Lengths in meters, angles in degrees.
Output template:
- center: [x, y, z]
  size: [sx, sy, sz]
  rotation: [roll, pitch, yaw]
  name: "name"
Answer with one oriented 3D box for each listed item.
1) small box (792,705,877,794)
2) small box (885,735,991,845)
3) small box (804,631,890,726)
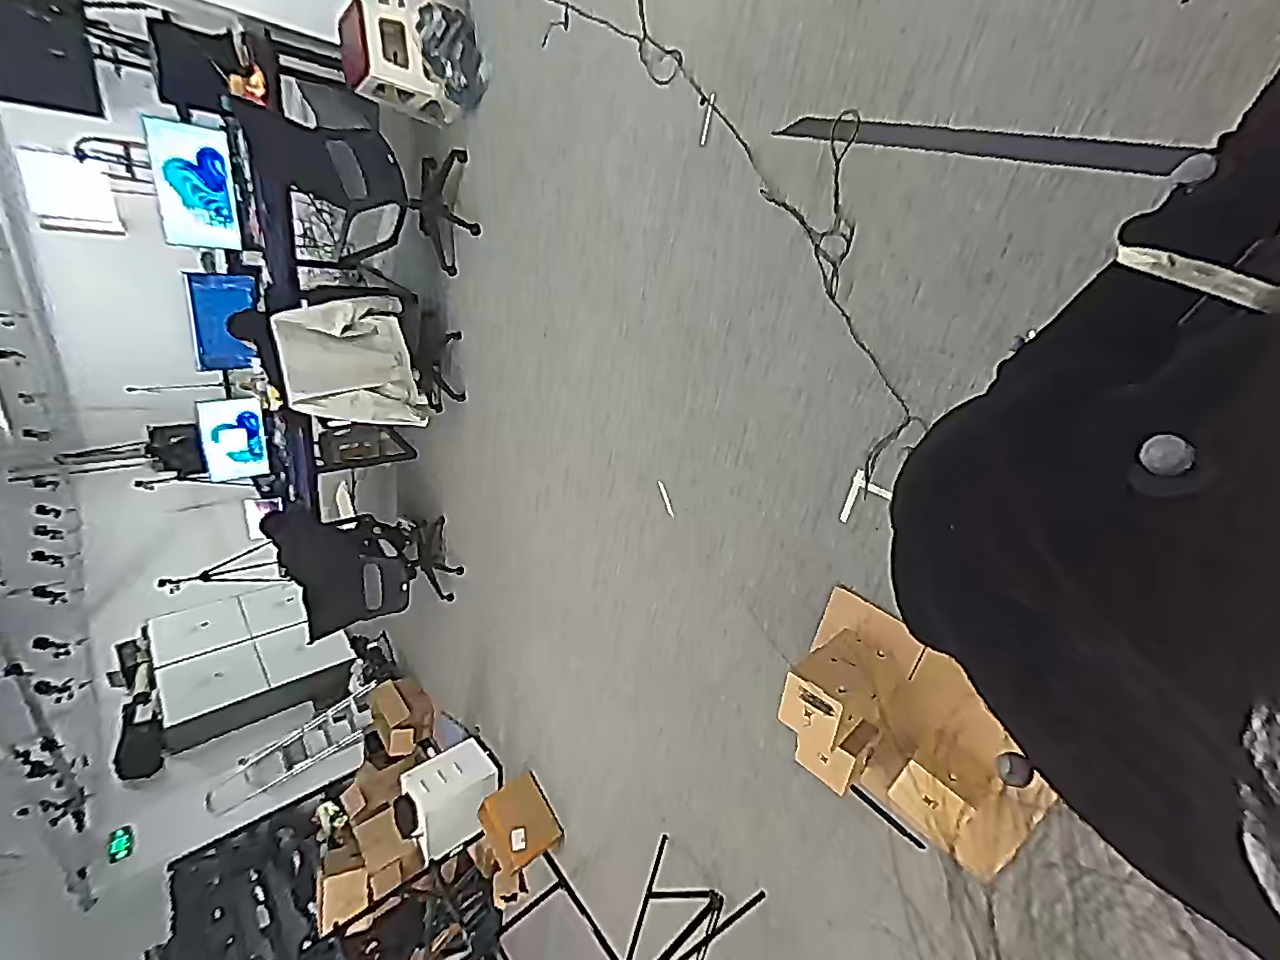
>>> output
- center: [0.614, 0.833, 1.709]
  size: [0.179, 0.176, 0.168]
  rotation: [26, 120, 40]
  name: "small box"
- center: [0.818, 0.835, 1.483]
  size: [0.179, 0.176, 0.168]
  rotation: [35, 124, 35]
  name: "small box"
- center: [0.625, 0.587, 1.624]
  size: [0.168, 0.176, 0.179]
  rotation: [27, 120, 40]
  name: "small box"
